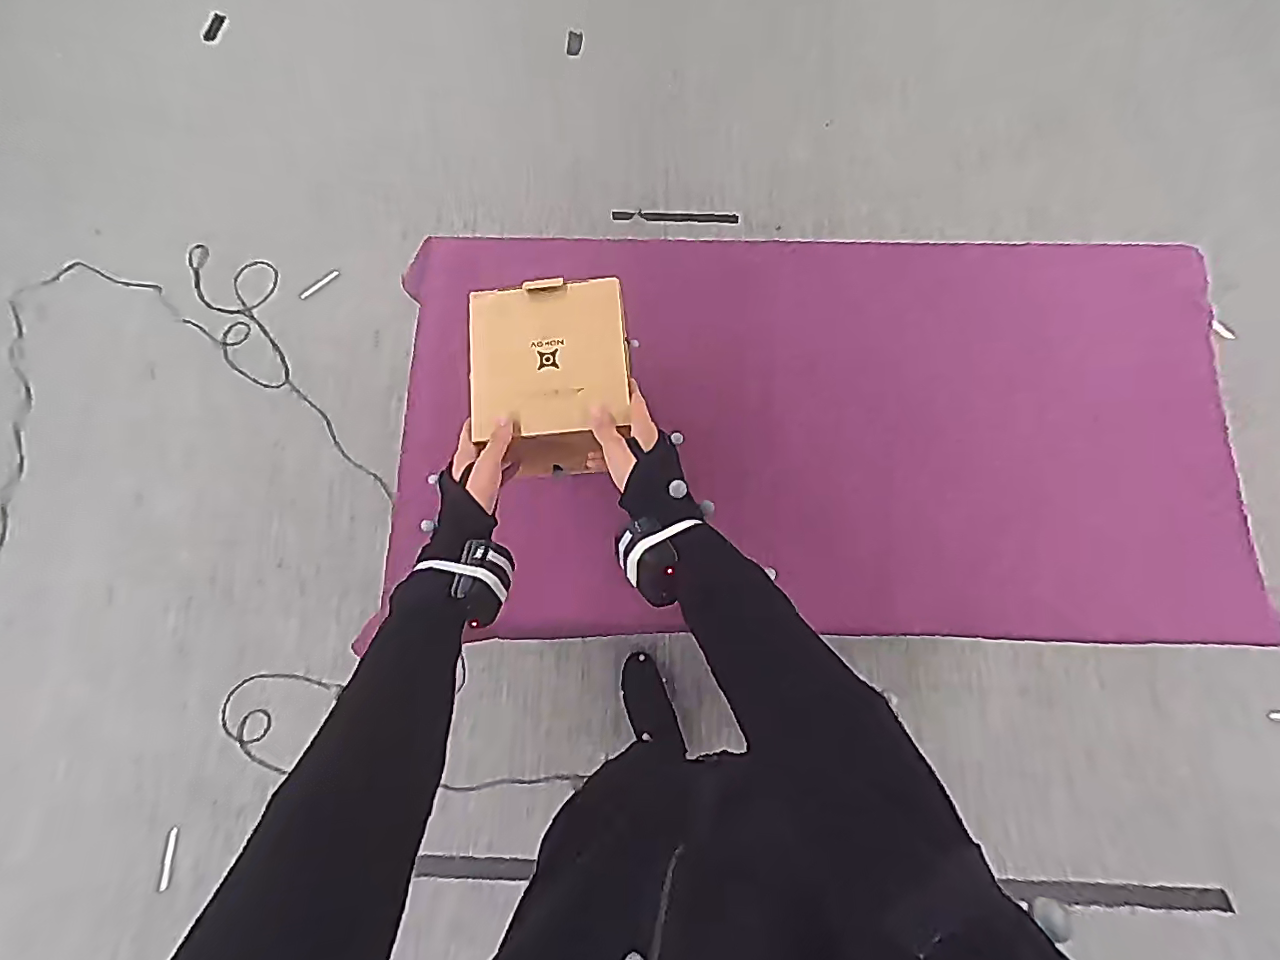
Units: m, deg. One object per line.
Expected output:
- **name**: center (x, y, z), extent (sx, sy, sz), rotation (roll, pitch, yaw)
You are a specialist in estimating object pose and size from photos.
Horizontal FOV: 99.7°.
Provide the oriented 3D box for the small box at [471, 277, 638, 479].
- **small box**: center (-0.090, -0.110, 0.637), extent (0.168, 0.176, 0.179), rotation (-5, 76, 1)
